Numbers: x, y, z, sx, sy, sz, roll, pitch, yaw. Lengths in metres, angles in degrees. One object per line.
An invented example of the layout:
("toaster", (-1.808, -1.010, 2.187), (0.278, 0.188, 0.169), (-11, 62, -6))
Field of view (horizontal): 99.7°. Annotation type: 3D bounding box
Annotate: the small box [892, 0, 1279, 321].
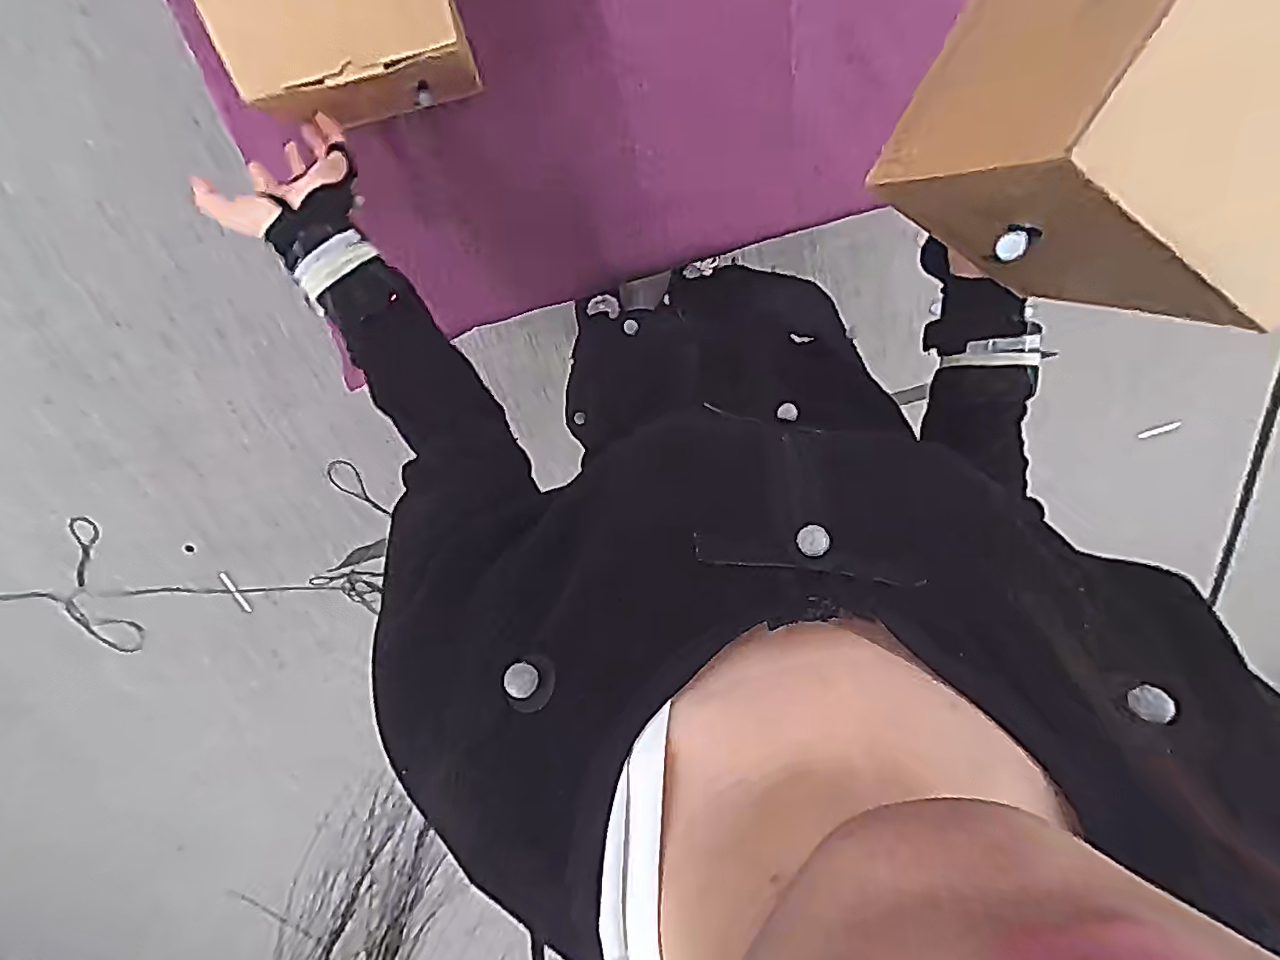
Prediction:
("small box", (0.275, -0.213, 0.297), (0.168, 0.176, 0.179), (22, 108, -18))
